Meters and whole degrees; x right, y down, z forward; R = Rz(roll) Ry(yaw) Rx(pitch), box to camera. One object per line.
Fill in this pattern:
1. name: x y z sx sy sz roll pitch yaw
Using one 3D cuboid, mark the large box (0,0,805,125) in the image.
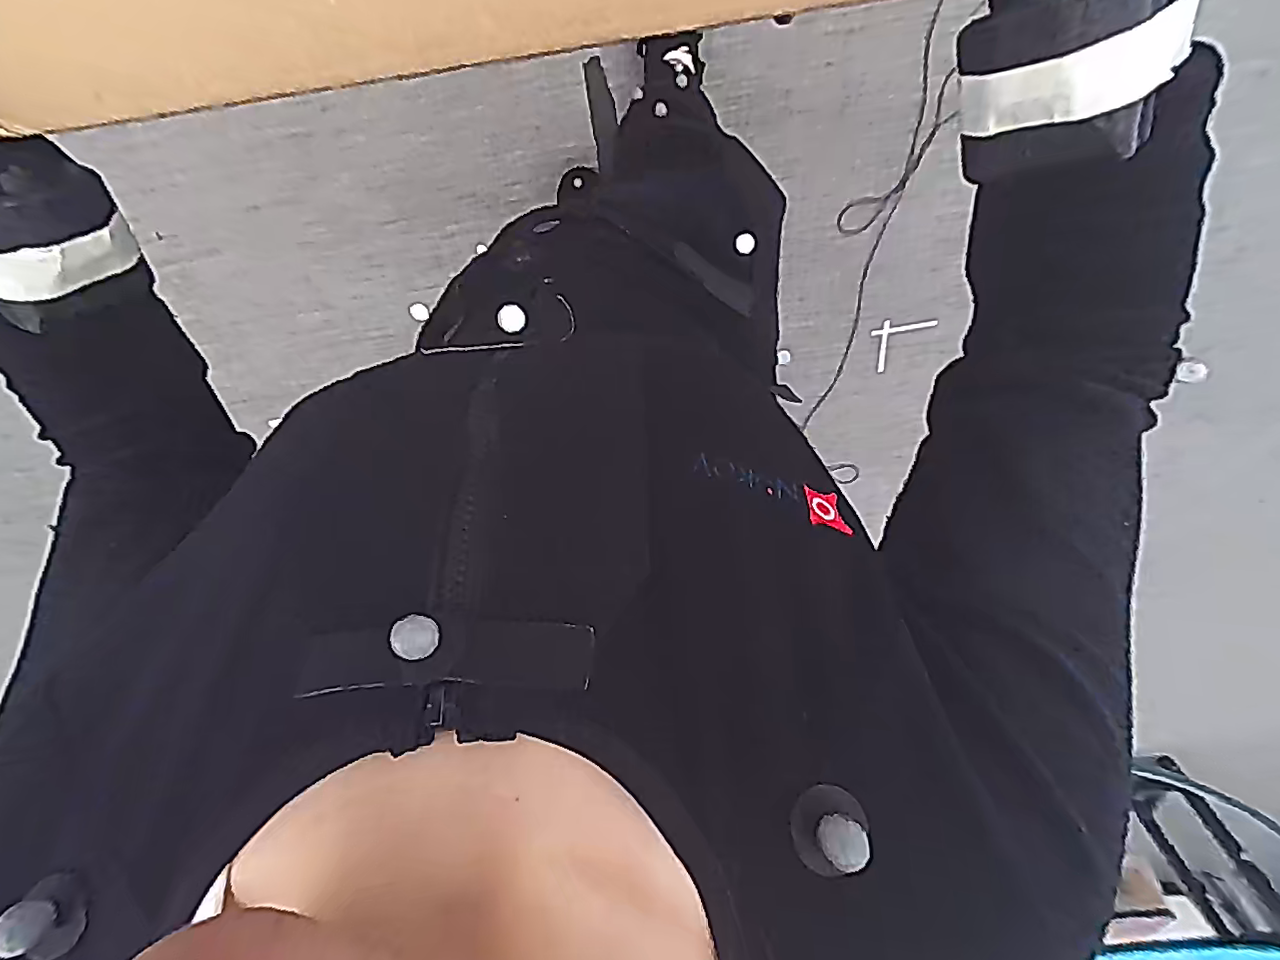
1. large box: -0.090 -0.380 0.183 0.408 0.320 0.320 -6 142 3
